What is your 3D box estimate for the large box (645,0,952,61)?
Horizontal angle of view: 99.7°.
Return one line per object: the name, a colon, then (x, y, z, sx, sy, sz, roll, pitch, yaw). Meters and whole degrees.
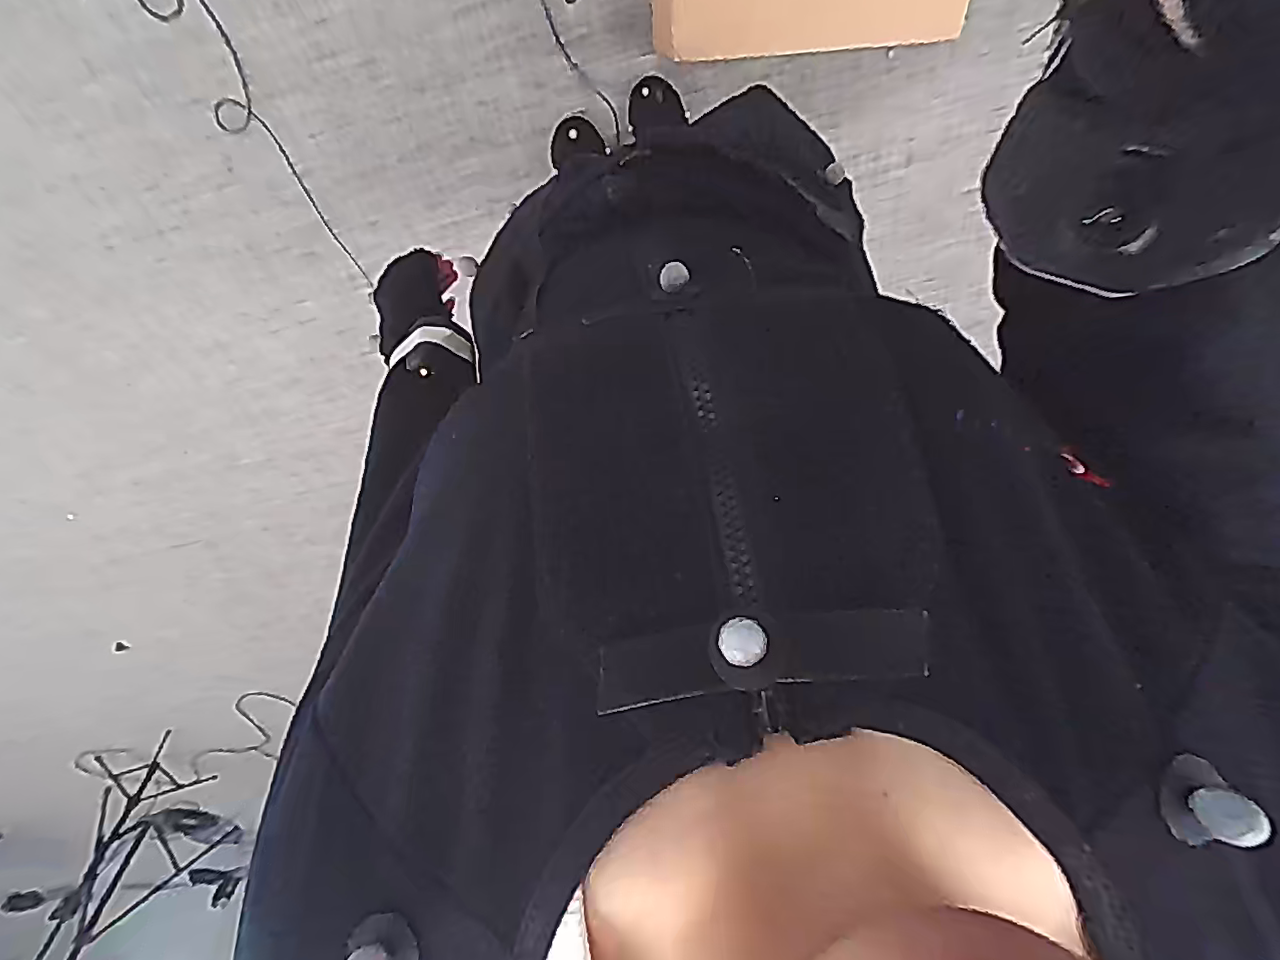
large box: (0.215, -0.820, 0.775, 0.408, 0.320, 0.320, -5, 130, -1)
